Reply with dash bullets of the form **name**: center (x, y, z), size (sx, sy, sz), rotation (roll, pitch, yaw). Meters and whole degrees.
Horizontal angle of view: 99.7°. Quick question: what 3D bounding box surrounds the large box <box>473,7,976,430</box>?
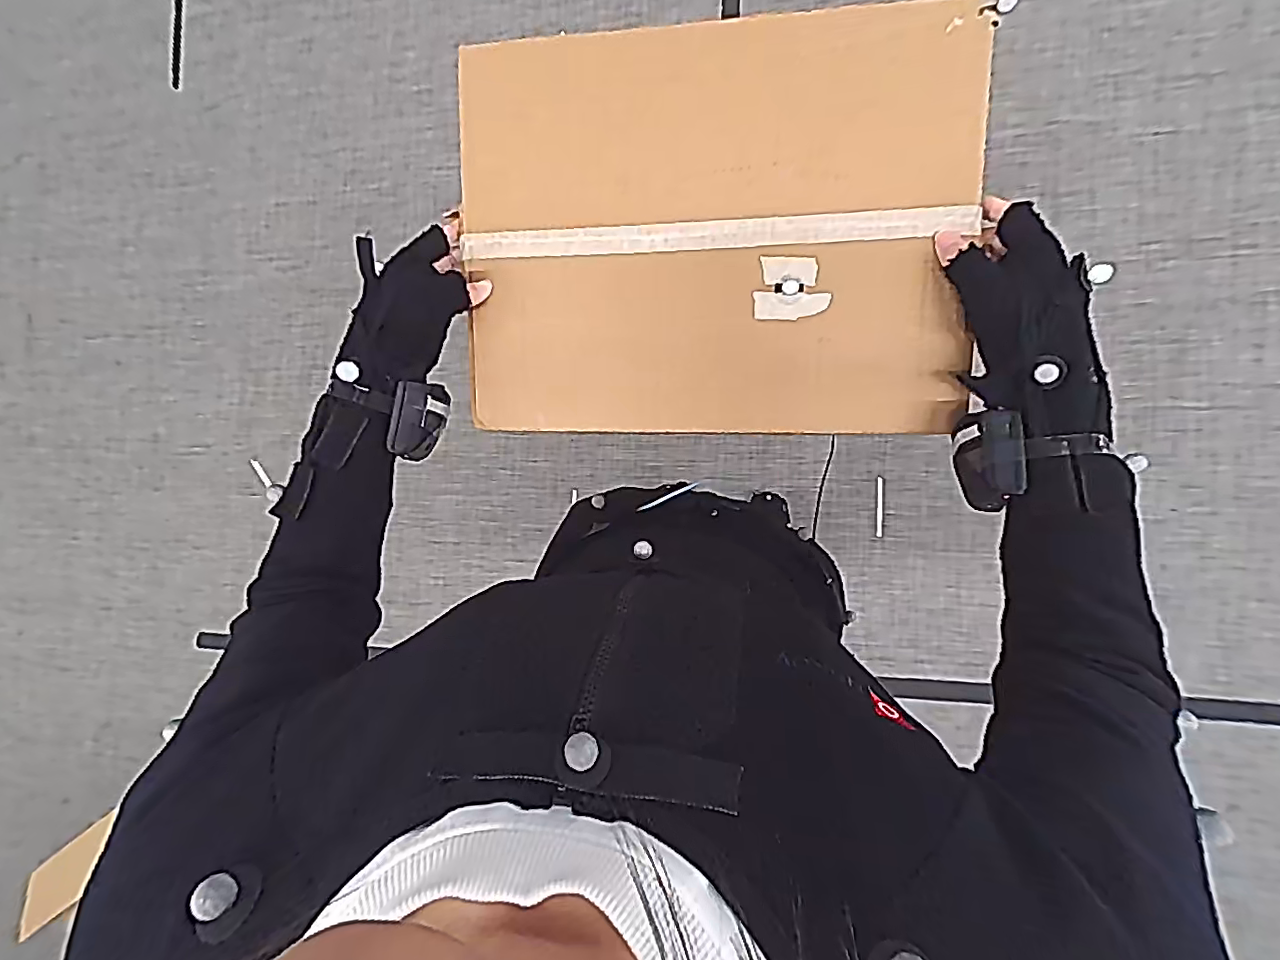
- **large box**: center (0.075, -0.217, 0.592), size (0.408, 0.320, 0.320), rotation (1, 97, 8)
